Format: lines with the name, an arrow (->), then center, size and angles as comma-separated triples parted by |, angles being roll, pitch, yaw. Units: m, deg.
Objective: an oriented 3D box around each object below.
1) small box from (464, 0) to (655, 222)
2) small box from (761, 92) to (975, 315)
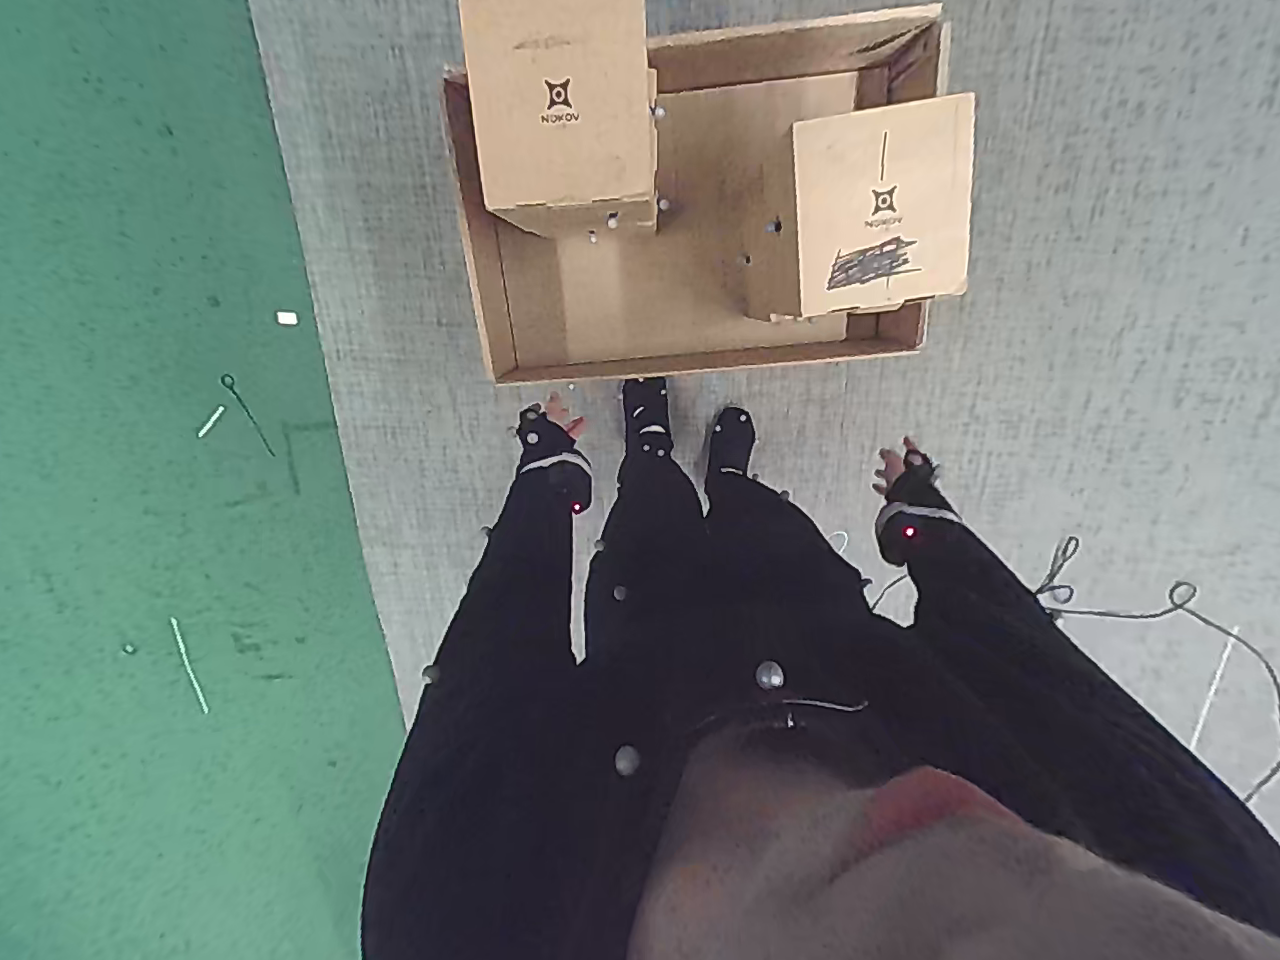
small box -> -0.069, -0.376, 0.571 | 0.168, 0.176, 0.179 | -2, 109, 2
small box -> 0.233, -0.286, 0.594 | 0.168, 0.176, 0.179 | -7, 109, 4
